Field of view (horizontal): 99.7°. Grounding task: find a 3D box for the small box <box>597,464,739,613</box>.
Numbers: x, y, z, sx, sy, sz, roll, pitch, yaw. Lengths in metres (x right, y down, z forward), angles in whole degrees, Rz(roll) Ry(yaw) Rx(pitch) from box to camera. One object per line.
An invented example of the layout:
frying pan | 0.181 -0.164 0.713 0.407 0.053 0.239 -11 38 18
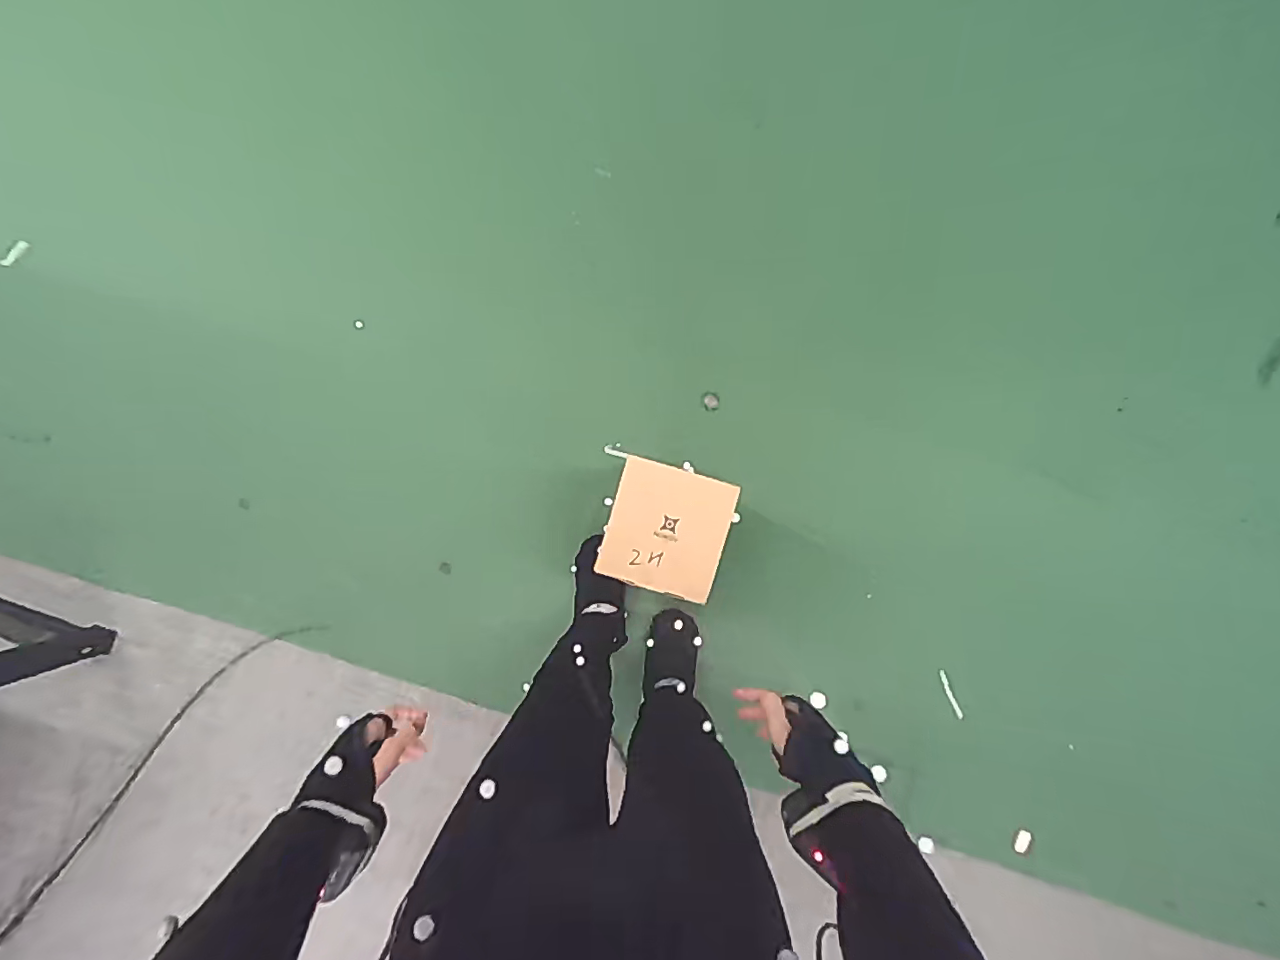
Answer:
small box | 0.040 0.083 0.837 0.168 0.176 0.179 16 90 2
